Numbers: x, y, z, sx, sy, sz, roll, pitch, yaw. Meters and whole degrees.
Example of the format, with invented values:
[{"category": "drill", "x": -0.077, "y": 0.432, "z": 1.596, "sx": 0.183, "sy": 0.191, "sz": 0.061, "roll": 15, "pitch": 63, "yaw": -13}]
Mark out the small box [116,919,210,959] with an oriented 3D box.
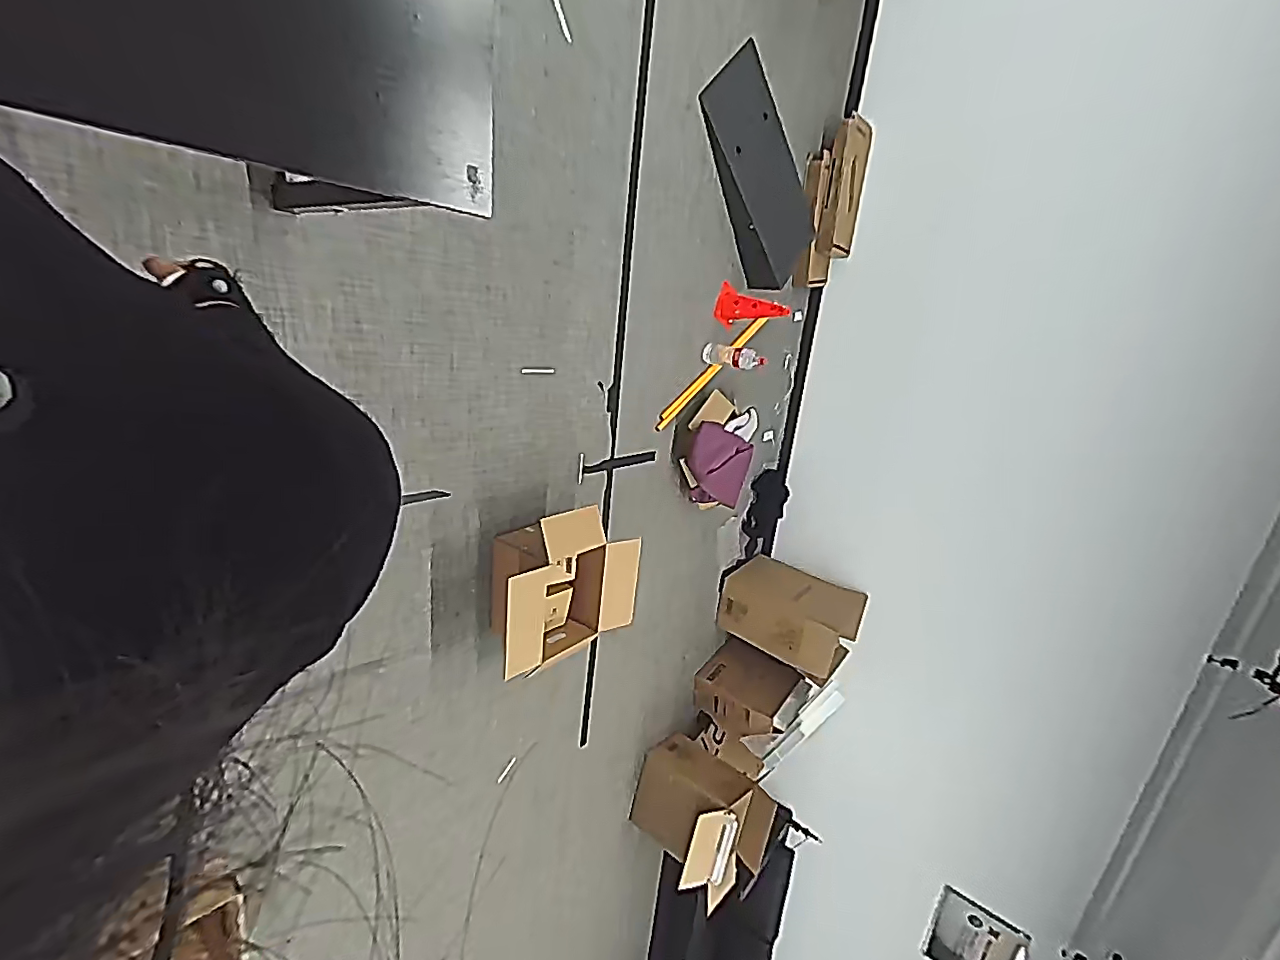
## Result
[{"category": "small box", "x": -1.234, "y": 1.300, "z": 1.388, "sx": 0.179, "sy": 0.176, "sz": 0.168, "roll": -9, "pitch": 110, "yaw": -50}]
